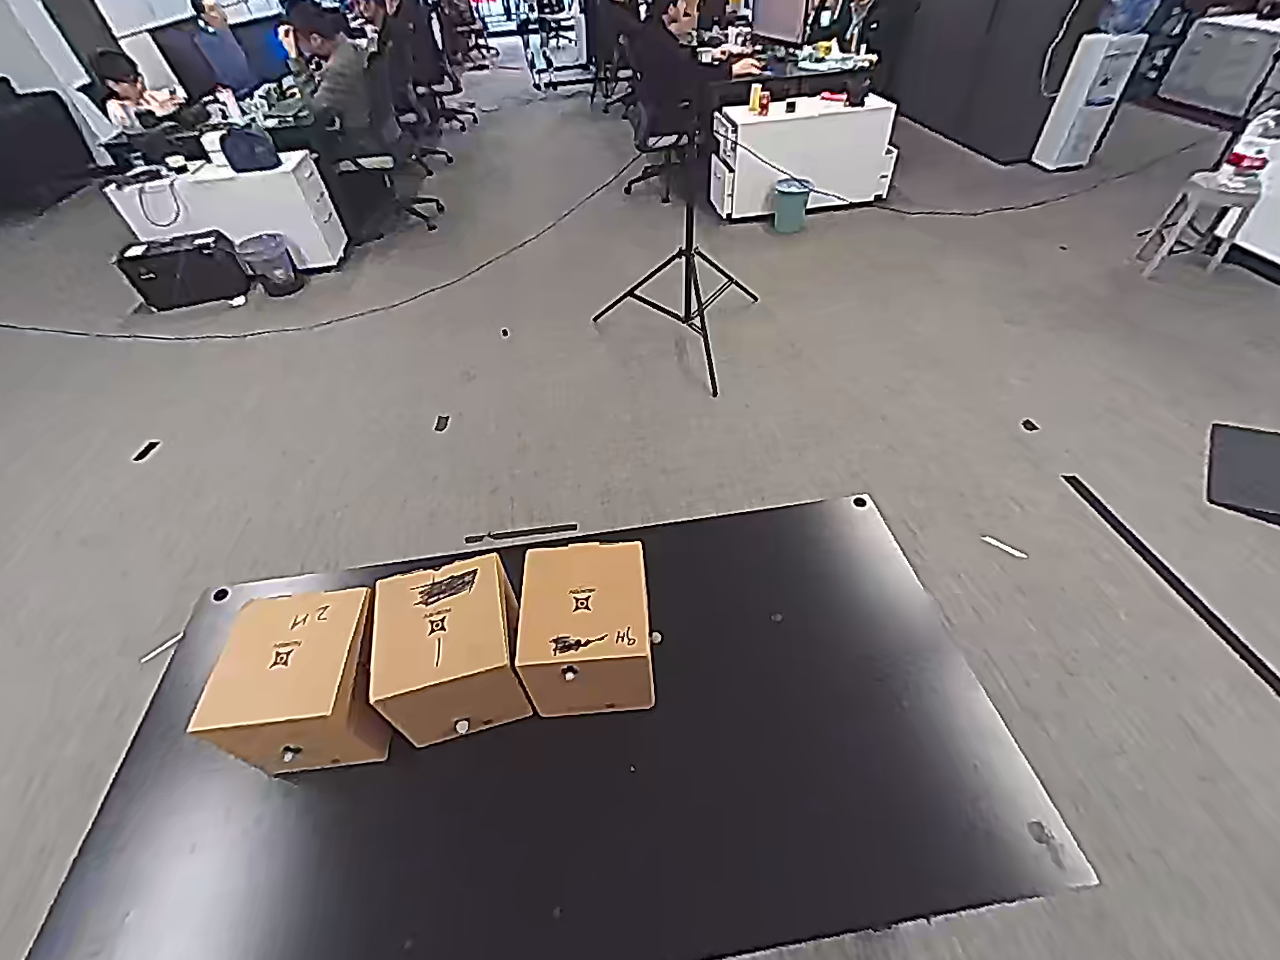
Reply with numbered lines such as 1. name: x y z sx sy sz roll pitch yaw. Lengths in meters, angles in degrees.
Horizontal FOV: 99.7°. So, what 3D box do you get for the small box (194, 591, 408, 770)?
1. small box: -0.437 0.278 0.737 0.168 0.176 0.179 -6 45 -2
